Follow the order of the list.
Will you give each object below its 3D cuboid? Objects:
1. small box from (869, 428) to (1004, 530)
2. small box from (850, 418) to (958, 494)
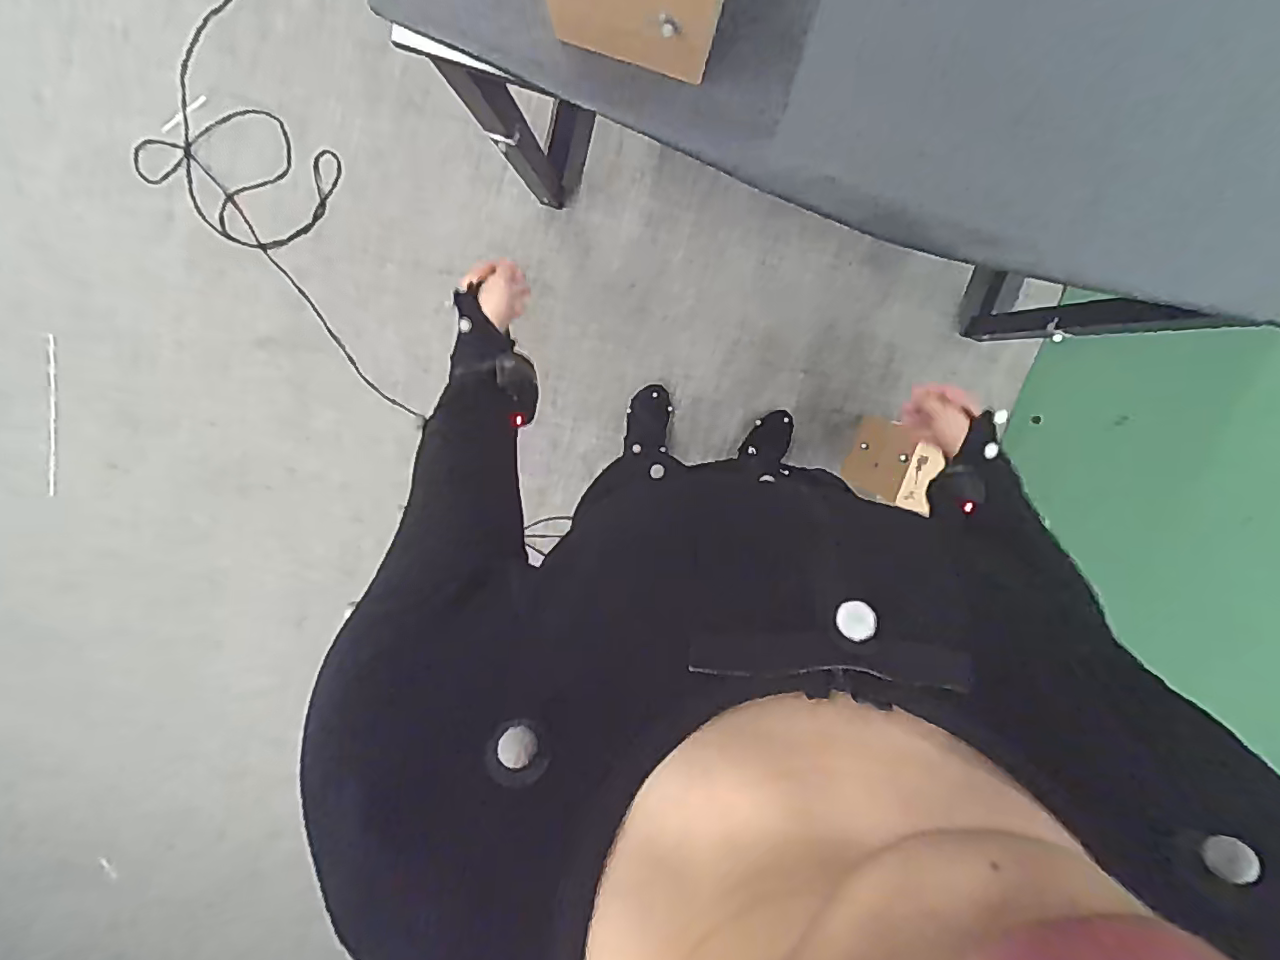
[{"bbox_3d":[0.650,-0.010,1.206,0.179,0.176,0.168,17,104,-2],"label":"small box"},{"bbox_3d":[0.653,-0.049,1.366,0.168,0.176,0.179,15,102,-1],"label":"small box"}]
